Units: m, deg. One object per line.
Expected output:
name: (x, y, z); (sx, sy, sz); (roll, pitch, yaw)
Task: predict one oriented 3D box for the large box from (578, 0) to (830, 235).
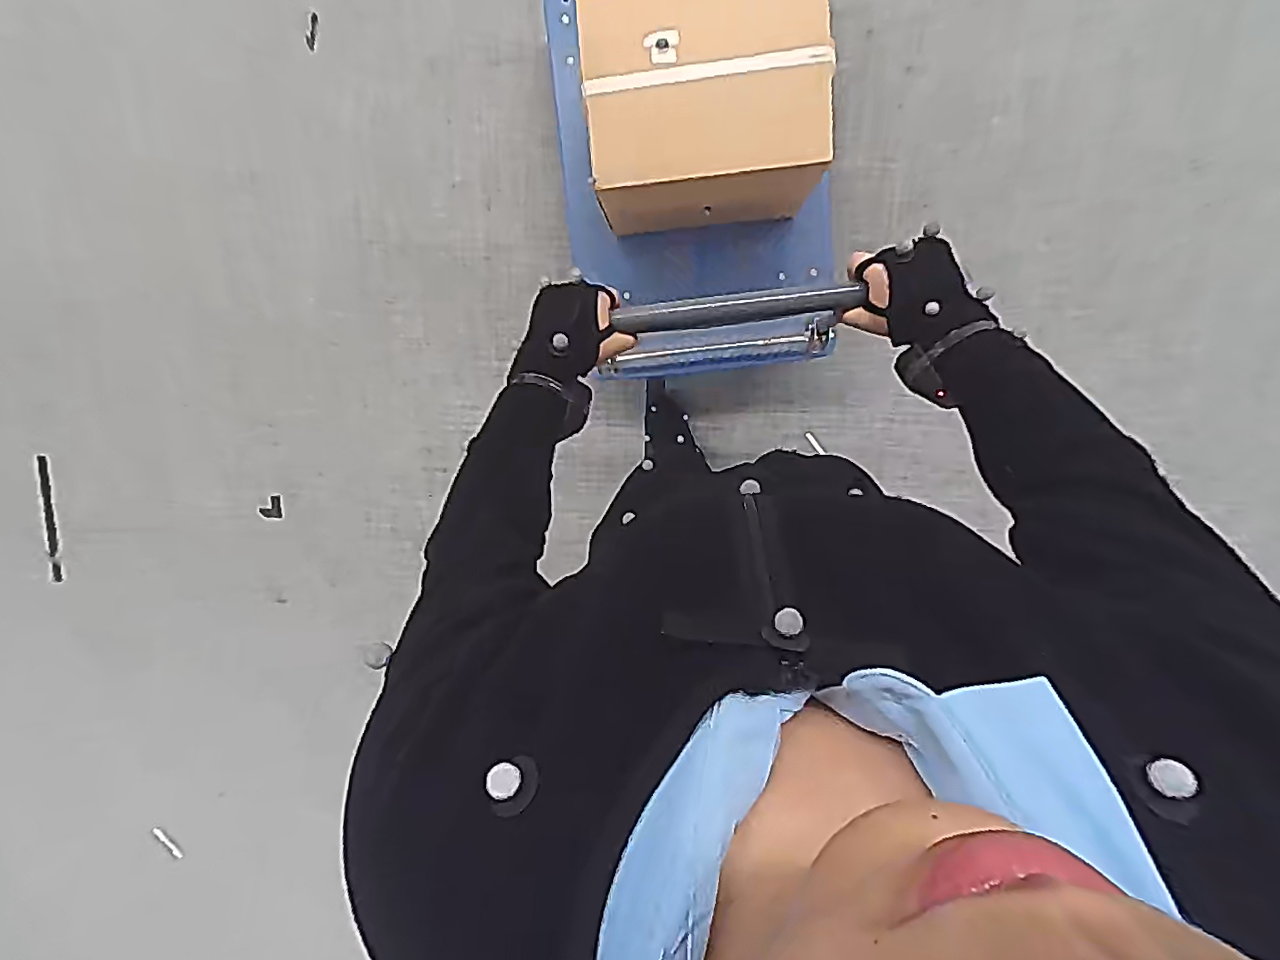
large box: (0.122, -0.697, 1.049); (0.408, 0.320, 0.320); (-5, 99, 6)
